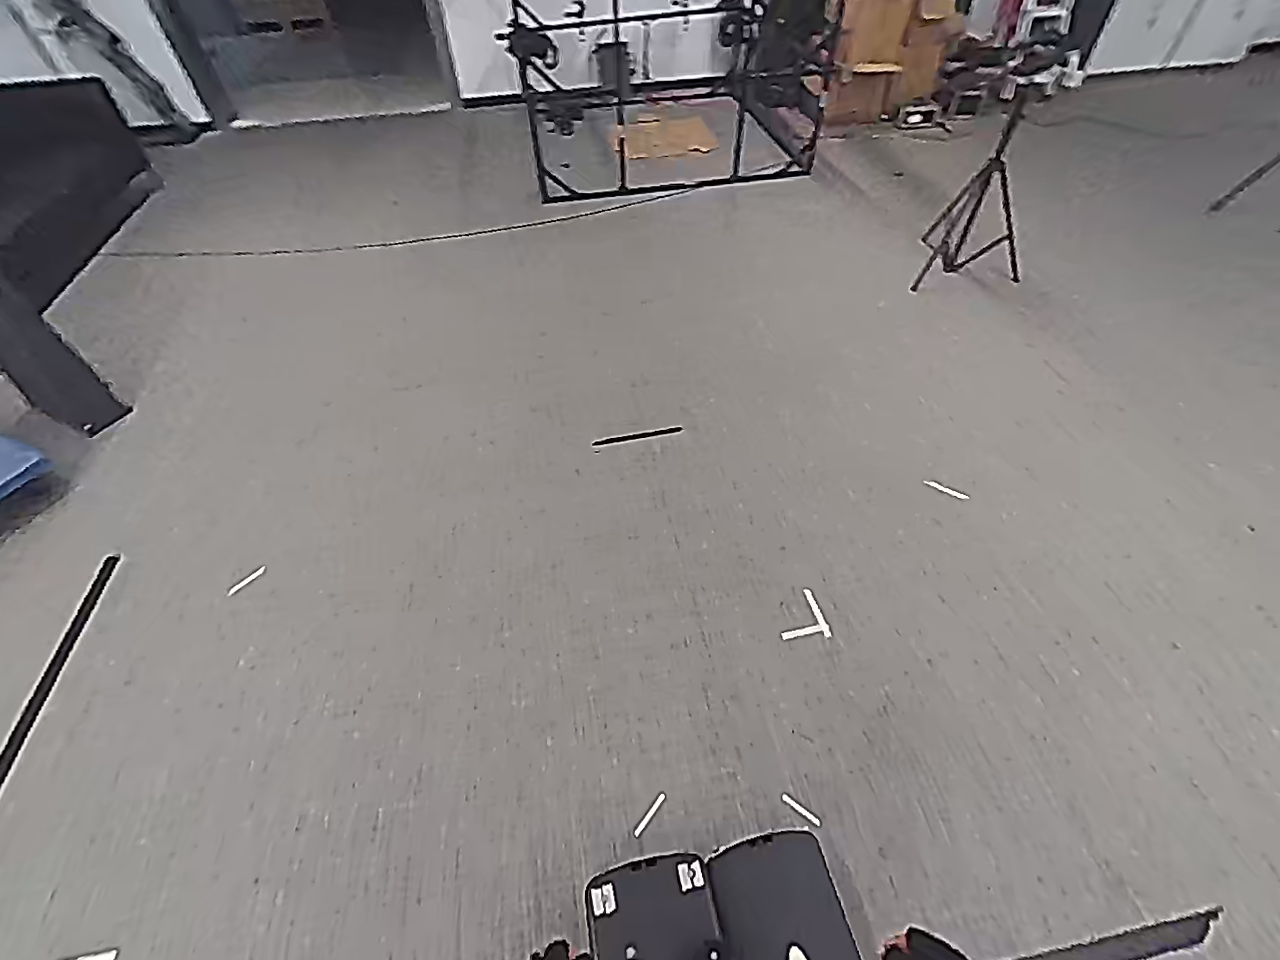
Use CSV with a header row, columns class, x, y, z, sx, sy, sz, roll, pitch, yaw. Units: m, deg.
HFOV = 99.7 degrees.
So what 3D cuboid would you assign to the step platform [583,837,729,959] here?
class,x,y,z,sx,sy,sz,roll,pitch,yaw
step platform,0.070,1.130,1.086,0.286,0.204,0.684,-11,49,-7
